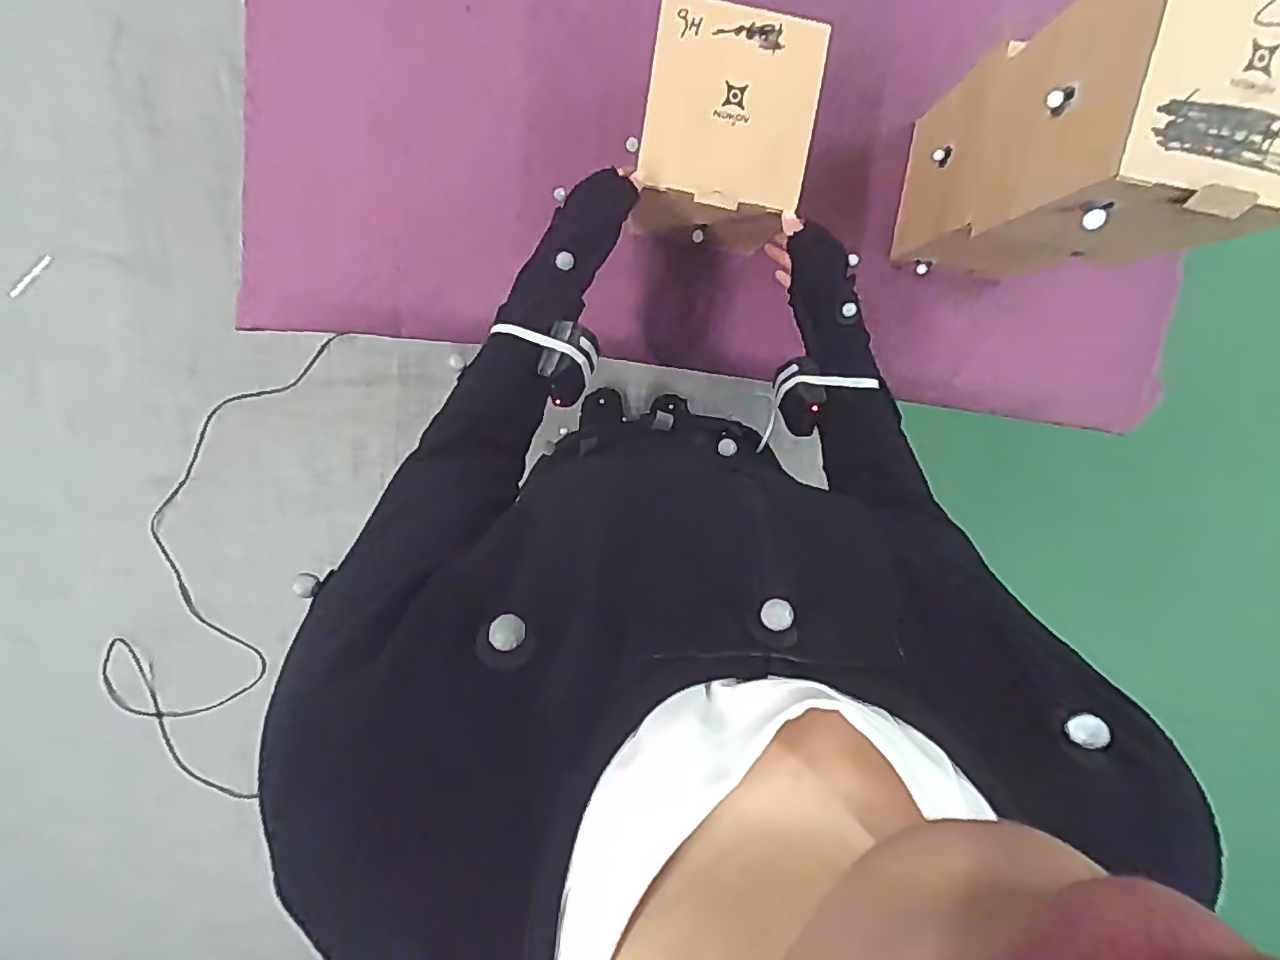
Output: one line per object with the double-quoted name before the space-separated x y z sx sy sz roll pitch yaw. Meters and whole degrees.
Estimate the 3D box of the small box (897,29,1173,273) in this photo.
"small box" 0.425 -0.350 0.617 0.168 0.176 0.179 9 100 -6

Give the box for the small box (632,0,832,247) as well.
"small box" 0.085 -0.375 0.597 0.168 0.176 0.179 8 100 -5
